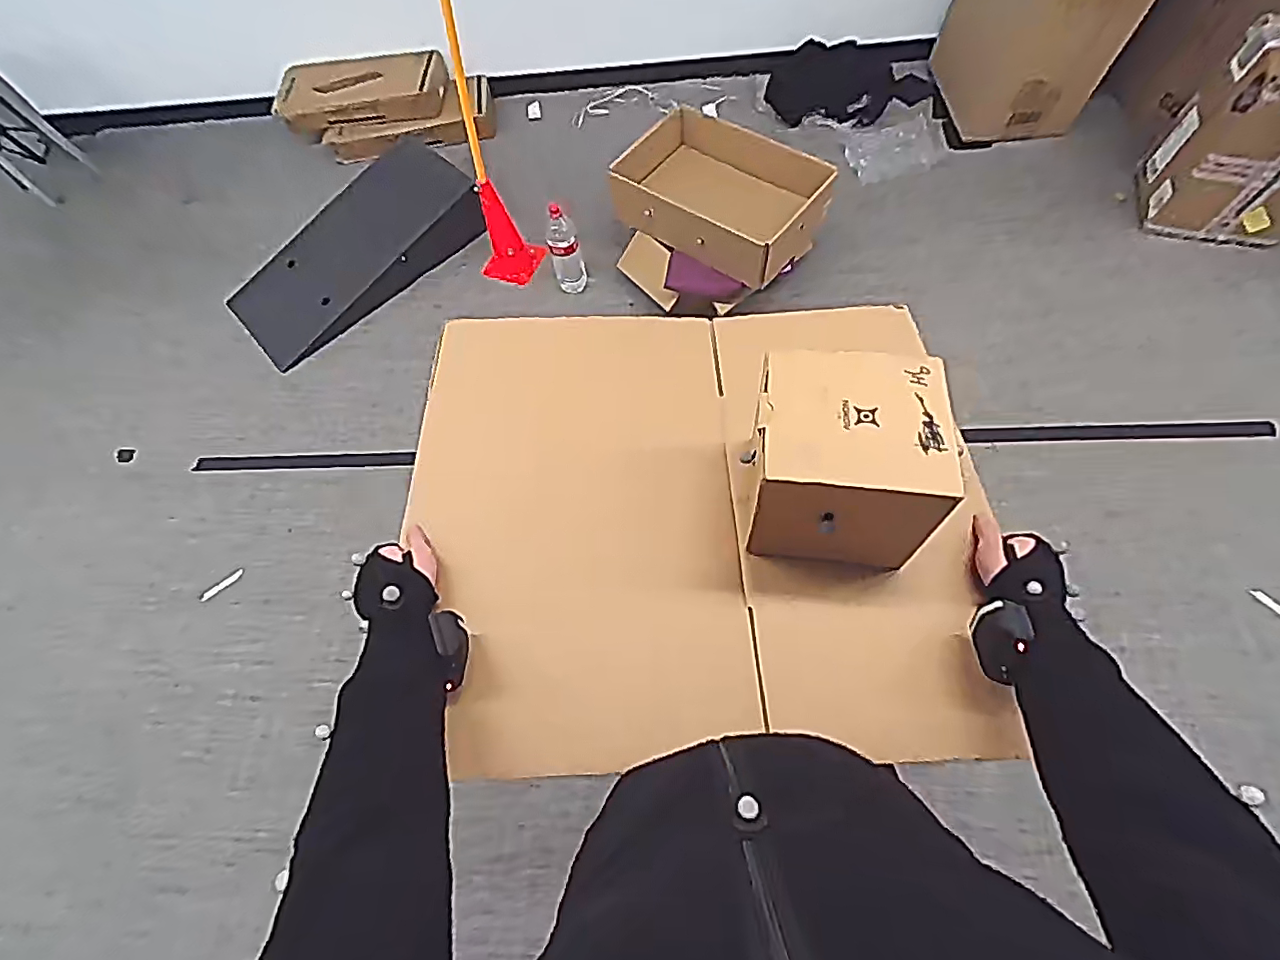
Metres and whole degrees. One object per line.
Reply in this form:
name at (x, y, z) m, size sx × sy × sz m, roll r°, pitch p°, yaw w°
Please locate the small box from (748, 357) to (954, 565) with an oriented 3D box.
small box at (0.214, -0.016, 0.599) m, size 0.179 × 0.176 × 0.168 m, roll 5°, pitch 60°, yaw 9°
